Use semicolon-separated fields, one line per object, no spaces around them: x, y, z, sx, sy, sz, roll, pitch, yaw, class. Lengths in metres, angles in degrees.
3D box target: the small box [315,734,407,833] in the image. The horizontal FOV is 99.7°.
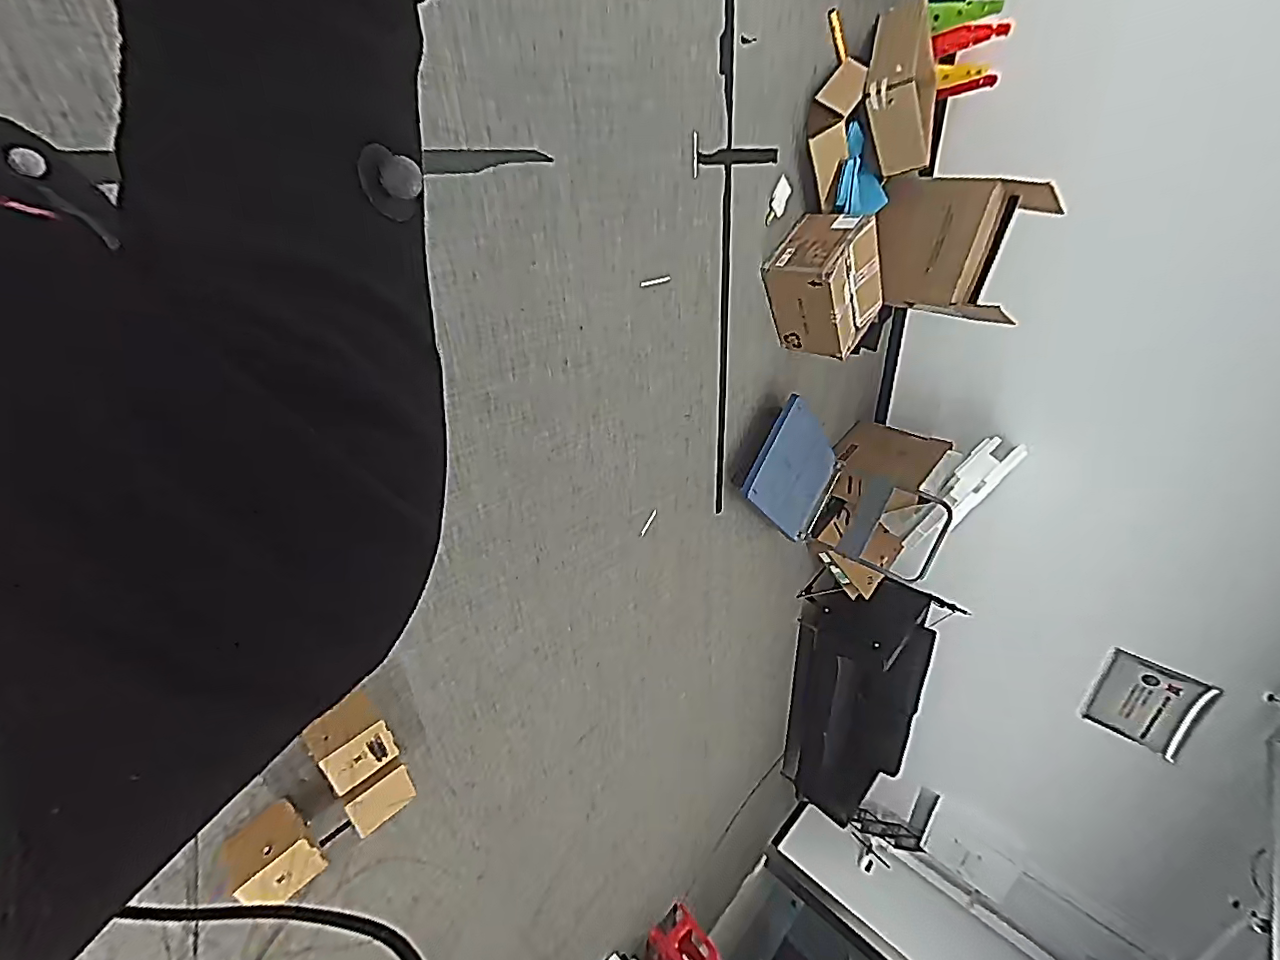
-0.843;0.926;1.641;0.179;0.176;0.168;-29;129;-38;small box
